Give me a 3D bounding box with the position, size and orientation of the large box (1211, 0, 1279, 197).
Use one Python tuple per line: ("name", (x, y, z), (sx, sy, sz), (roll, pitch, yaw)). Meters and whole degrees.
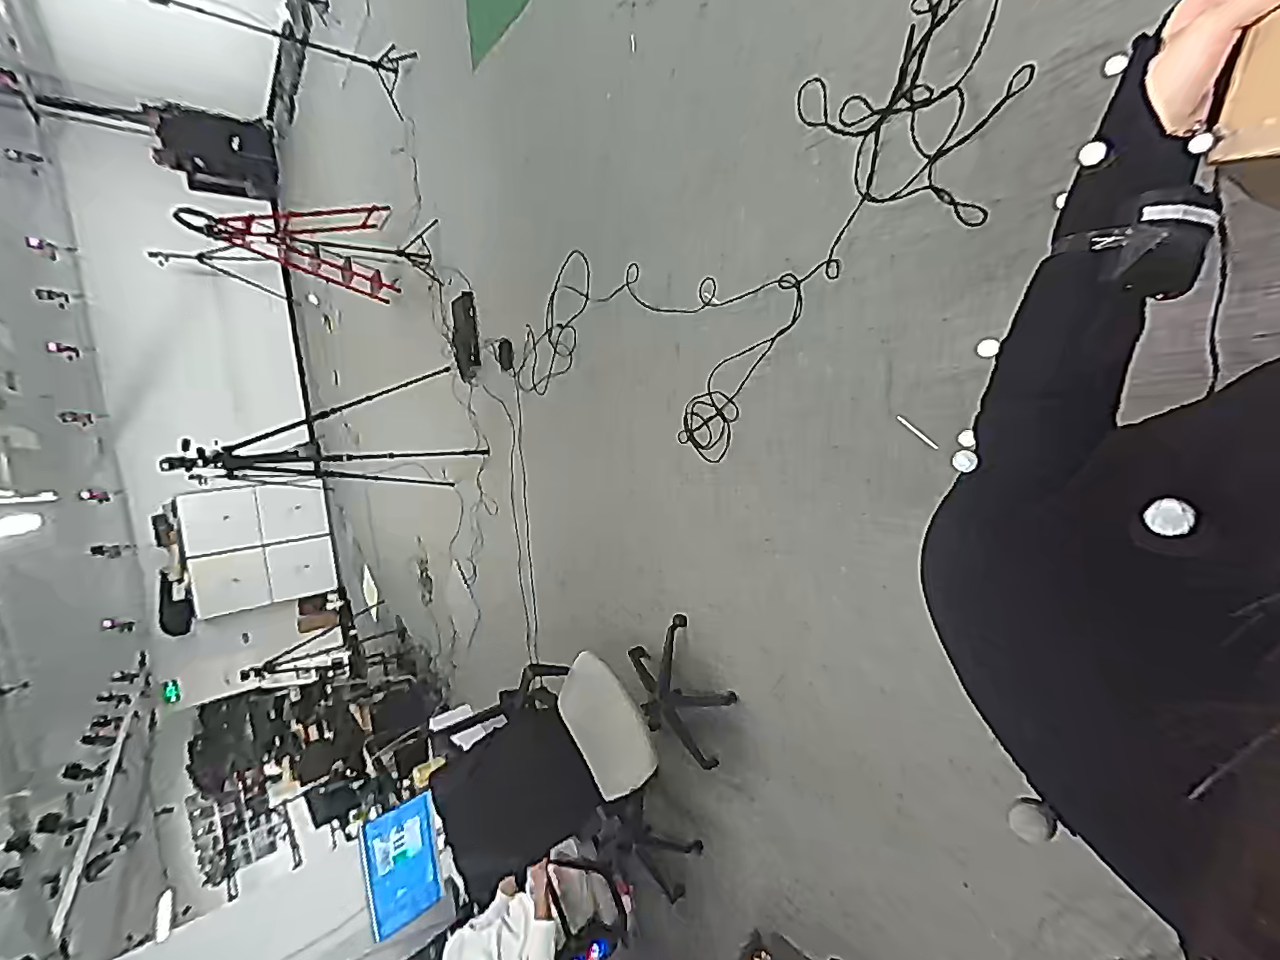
("large box", (0.644, -0.350, 0.270), (0.408, 0.320, 0.320), (23, 119, 50))
